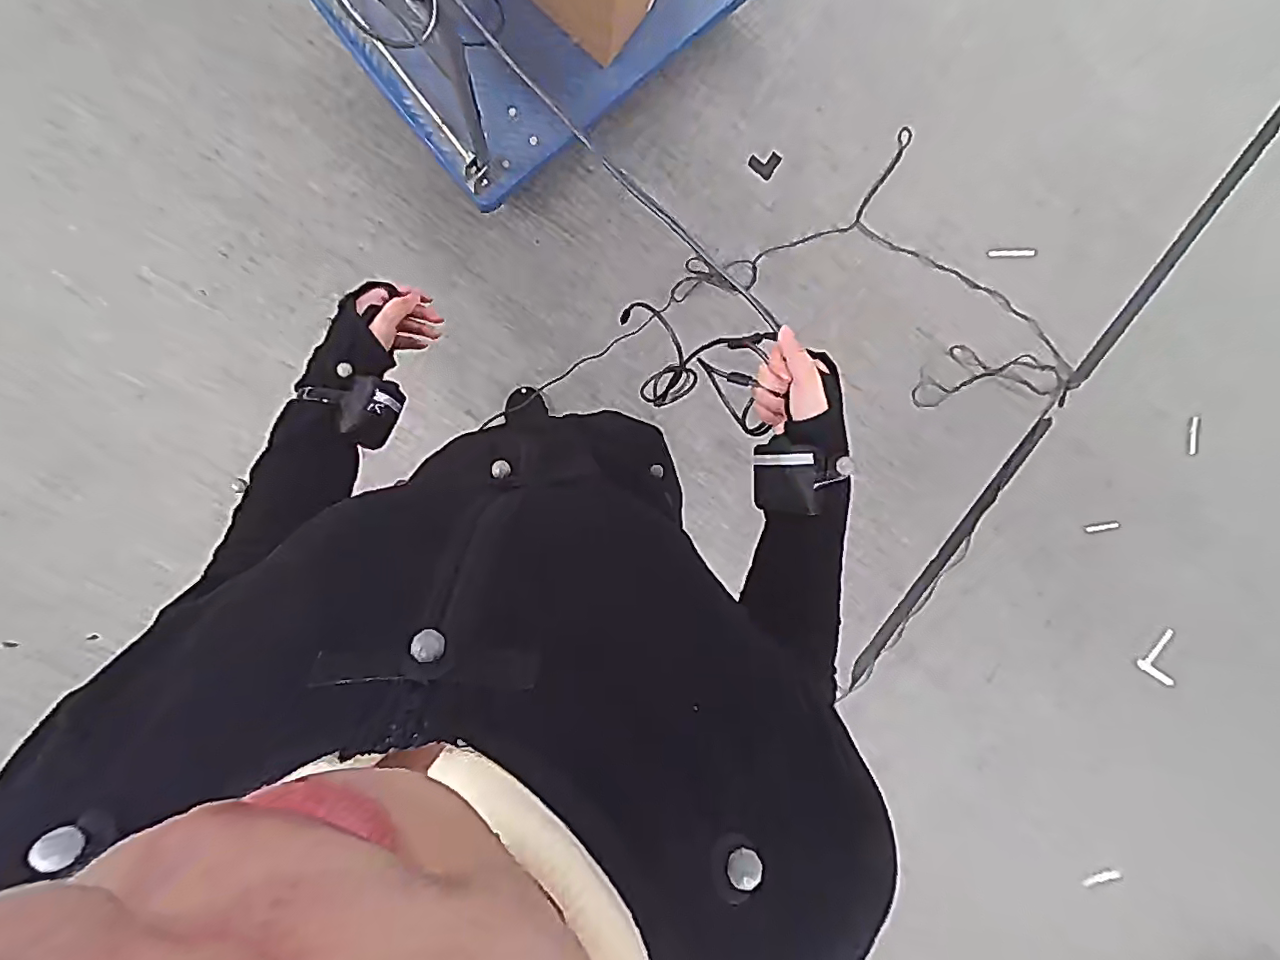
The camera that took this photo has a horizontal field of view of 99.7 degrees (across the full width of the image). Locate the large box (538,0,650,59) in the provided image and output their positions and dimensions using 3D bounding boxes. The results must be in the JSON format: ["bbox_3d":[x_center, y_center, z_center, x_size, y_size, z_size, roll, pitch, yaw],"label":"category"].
[{"bbox_3d":[-0.120,-1.099,0.962,0.408,0.320,0.320,36,95,-12],"label":"large box"}]
